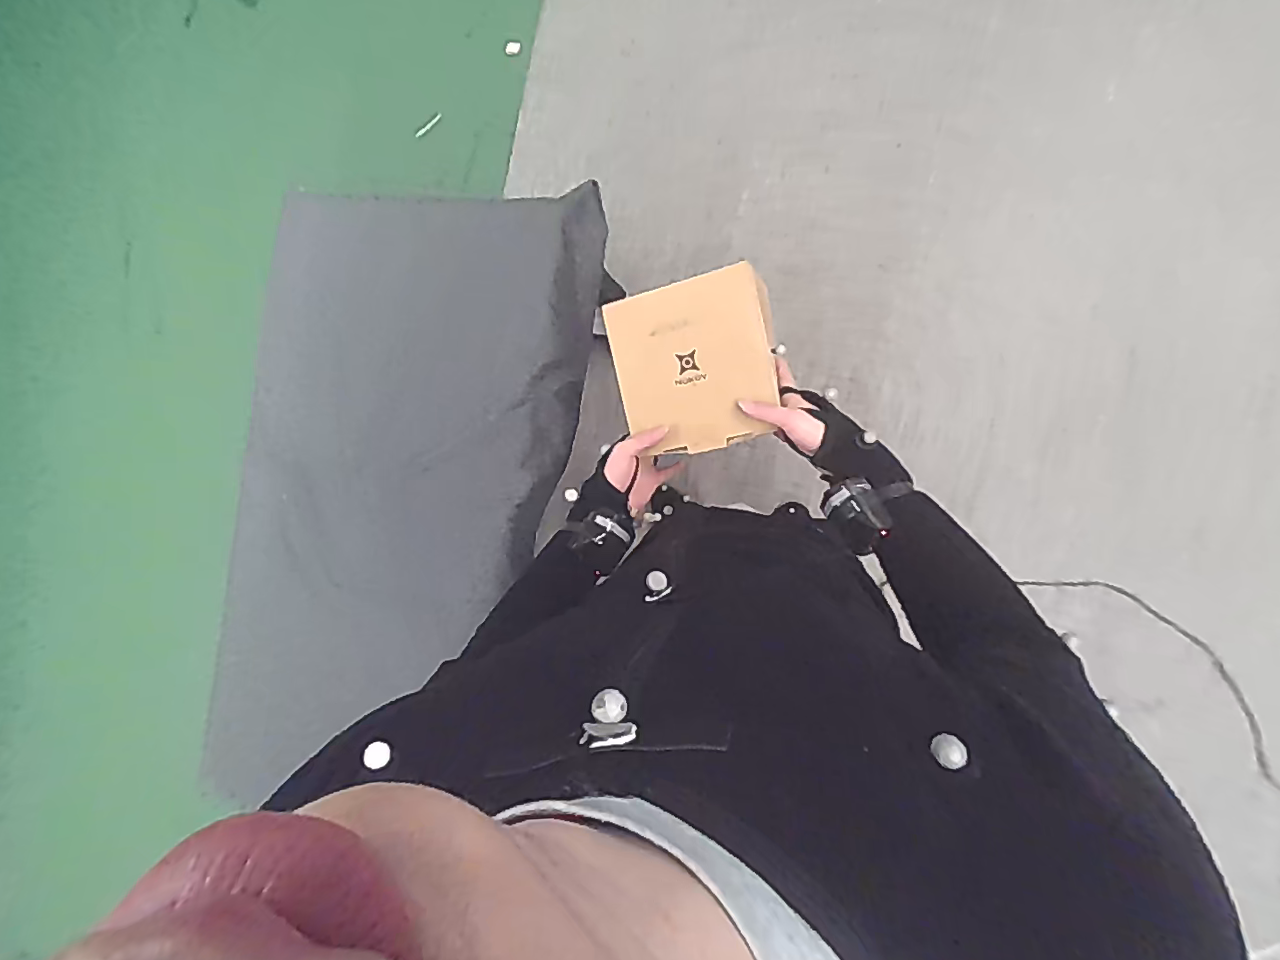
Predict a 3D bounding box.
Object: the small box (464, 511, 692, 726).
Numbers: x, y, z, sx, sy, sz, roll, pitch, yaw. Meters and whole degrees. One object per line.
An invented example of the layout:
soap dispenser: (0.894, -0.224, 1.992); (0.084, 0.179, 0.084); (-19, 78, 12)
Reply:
small box: (-0.068, 0.148, 0.639); (0.176, 0.168, 0.179); (-2, 121, 38)

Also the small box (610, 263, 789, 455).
small box: (0.083, -0.138, 0.655); (0.168, 0.176, 0.179); (-10, 96, 18)
